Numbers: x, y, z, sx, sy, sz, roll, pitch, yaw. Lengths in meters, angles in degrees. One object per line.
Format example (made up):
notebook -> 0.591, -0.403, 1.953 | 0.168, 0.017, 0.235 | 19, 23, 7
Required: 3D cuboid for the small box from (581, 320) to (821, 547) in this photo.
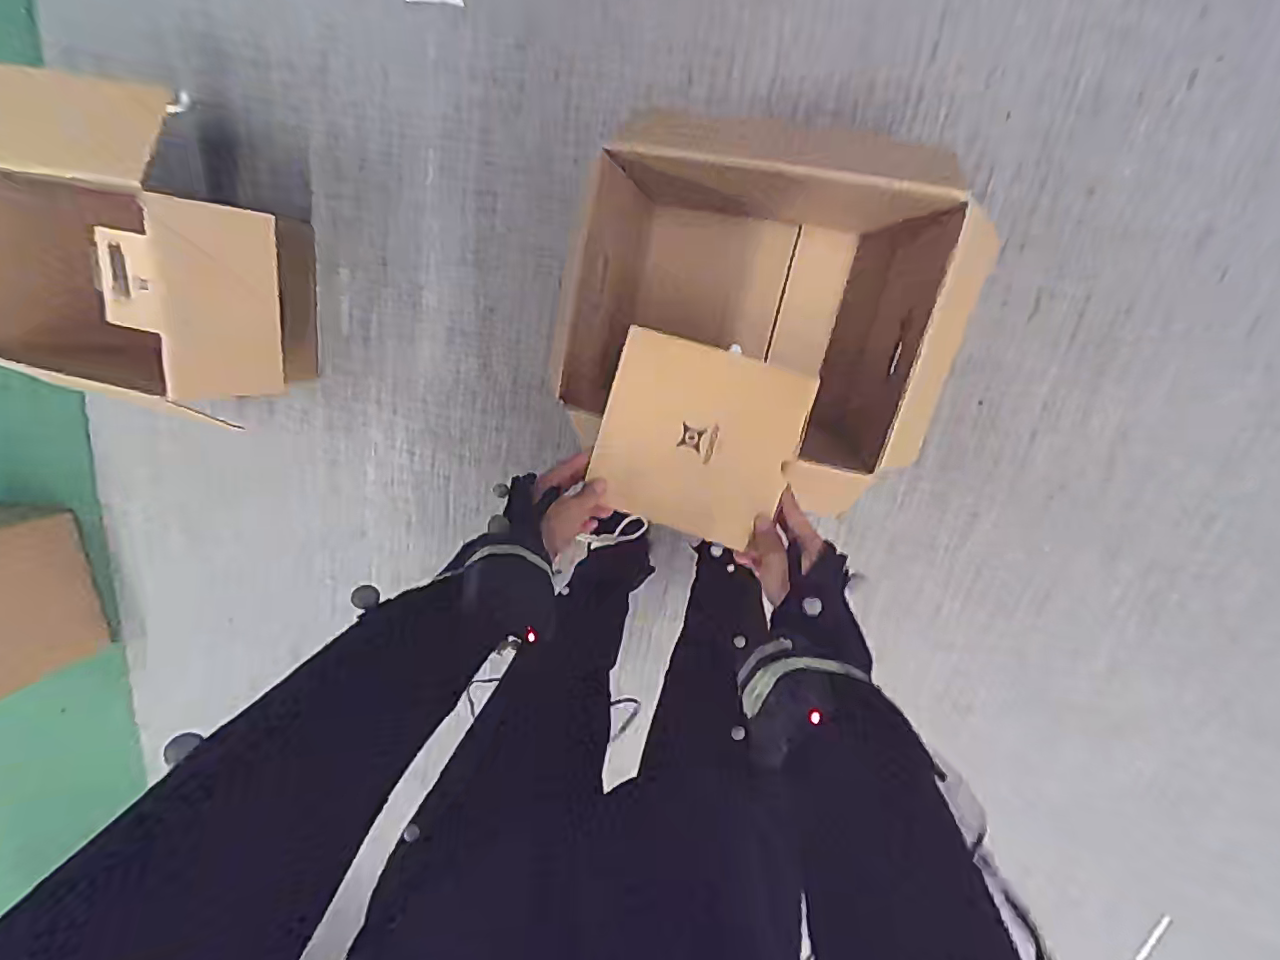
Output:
small box -> 0.061, -0.042, 0.556 | 0.179, 0.176, 0.168 | 17, 93, 6
